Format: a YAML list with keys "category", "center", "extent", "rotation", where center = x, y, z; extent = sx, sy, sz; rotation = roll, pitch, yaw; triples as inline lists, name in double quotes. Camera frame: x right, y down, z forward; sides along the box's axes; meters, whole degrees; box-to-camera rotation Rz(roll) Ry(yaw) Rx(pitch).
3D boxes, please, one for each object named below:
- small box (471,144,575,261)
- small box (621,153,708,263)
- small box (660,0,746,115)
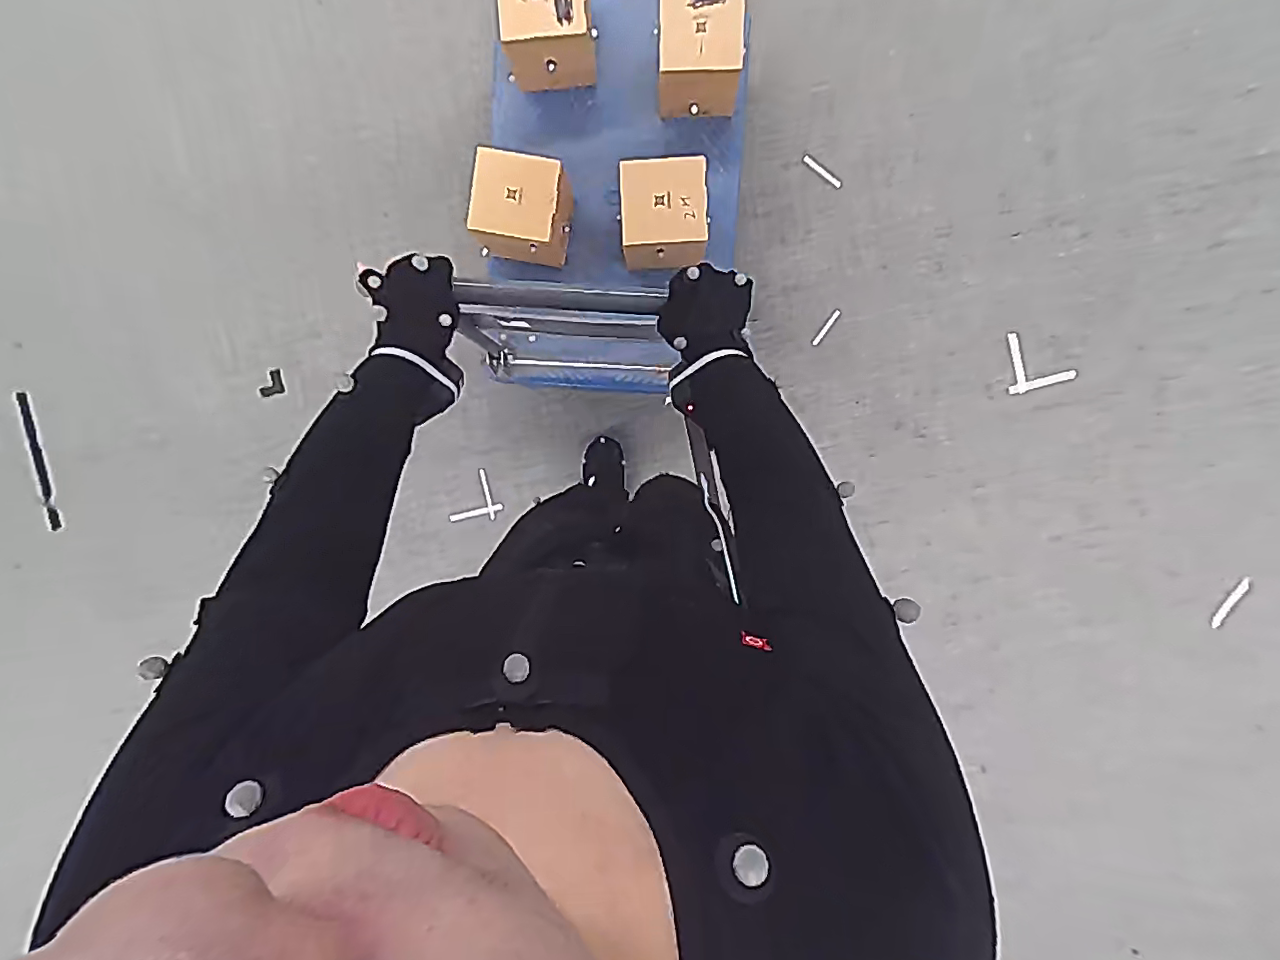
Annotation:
- category: "small box"
  center: [-0.249, -0.596, 1.182]
  extent: [0.179, 0.176, 0.168]
  rotation: [9, 95, -1]
- category: "small box"
  center: [0.055, -0.579, 1.172]
  extent: [0.179, 0.176, 0.168]
  rotation: [-2, 96, 2]
- category: "small box"
  center: [0.127, -0.909, 1.138]
  extent: [0.168, 0.176, 0.179]
  rotation: [1, 96, 2]
